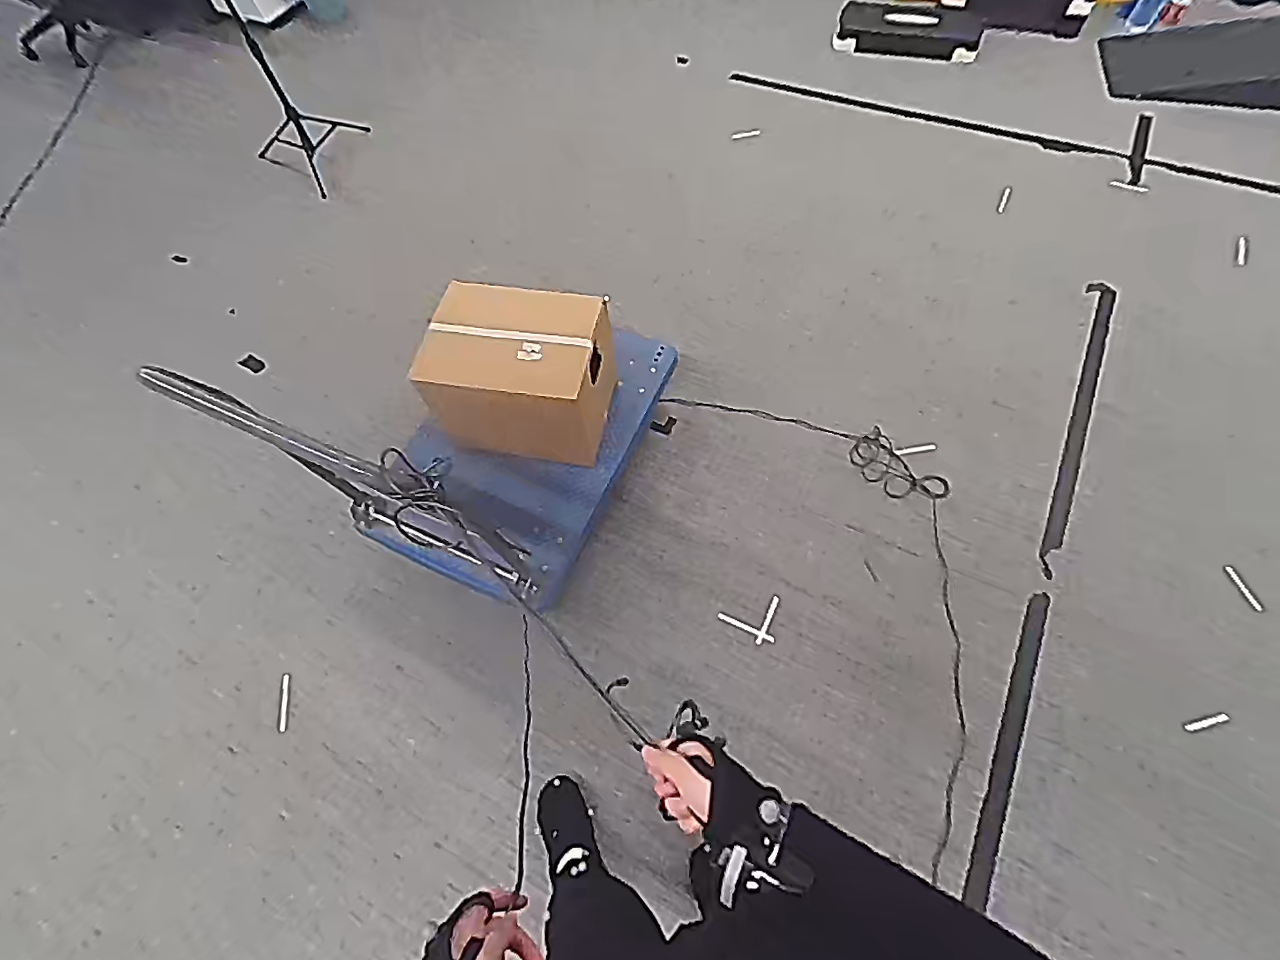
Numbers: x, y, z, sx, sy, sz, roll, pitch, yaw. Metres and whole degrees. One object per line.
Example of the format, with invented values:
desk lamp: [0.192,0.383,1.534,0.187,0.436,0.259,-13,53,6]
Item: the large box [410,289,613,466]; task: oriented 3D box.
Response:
large box: [-0.304,-0.258,1.406,0.408,0.320,0.320,8,64,6]
